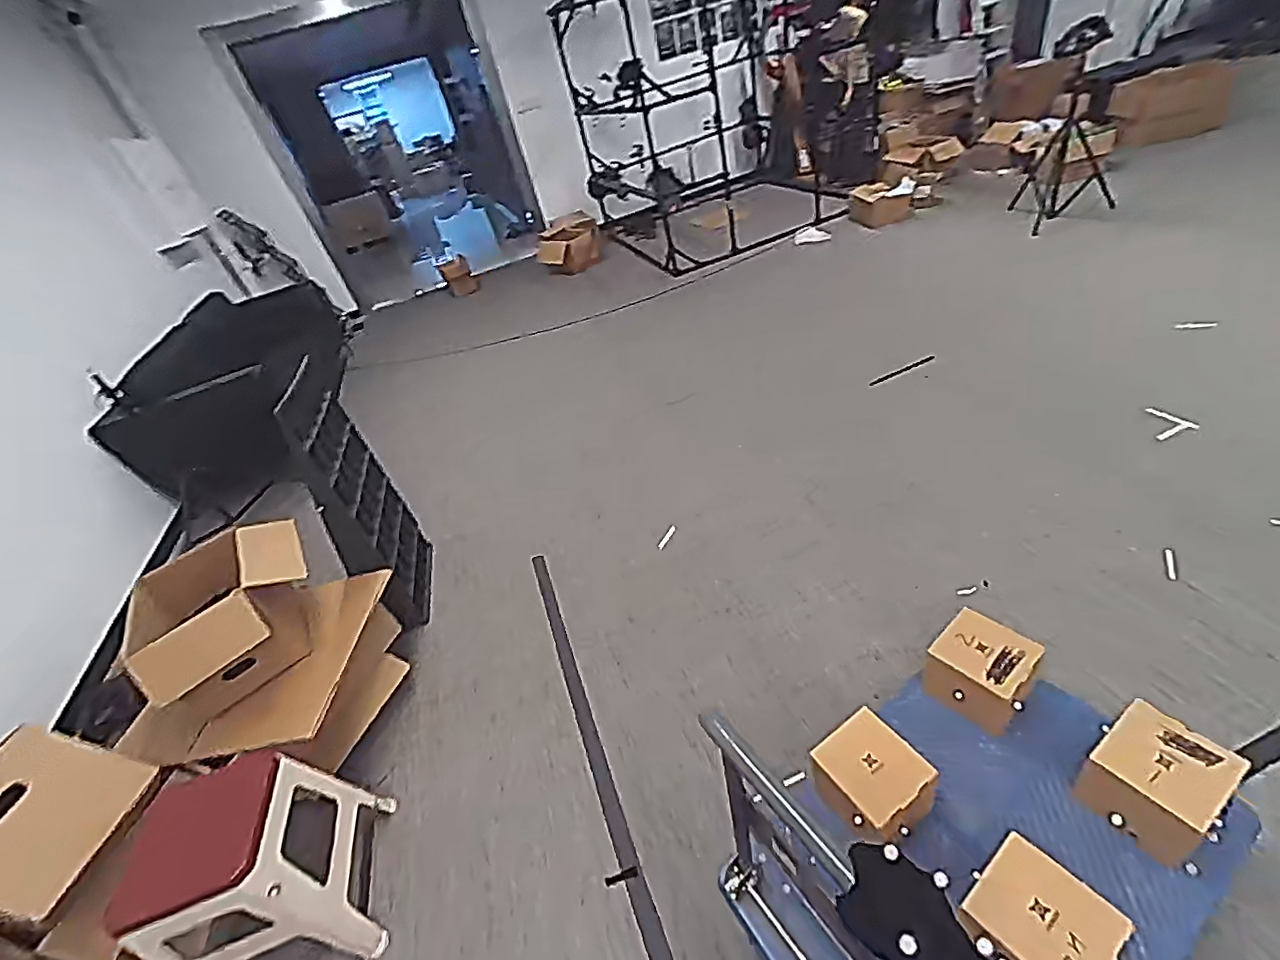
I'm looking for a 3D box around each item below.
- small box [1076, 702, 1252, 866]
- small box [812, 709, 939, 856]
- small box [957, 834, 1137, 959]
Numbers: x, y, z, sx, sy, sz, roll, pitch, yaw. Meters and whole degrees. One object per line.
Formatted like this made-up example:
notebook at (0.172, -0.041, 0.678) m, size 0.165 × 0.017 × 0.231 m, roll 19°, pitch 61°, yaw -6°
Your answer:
small box at (0.957, 0.562, 1.006) m, size 0.179 × 0.176 × 0.168 m, roll -33°, pitch 39°, yaw -18°
small box at (0.478, 0.625, 1.118) m, size 0.168 × 0.176 × 0.179 m, roll -30°, pitch 40°, yaw -18°
small box at (0.653, 0.745, 0.891) m, size 0.168 × 0.176 × 0.179 m, roll -34°, pitch 39°, yaw -21°
